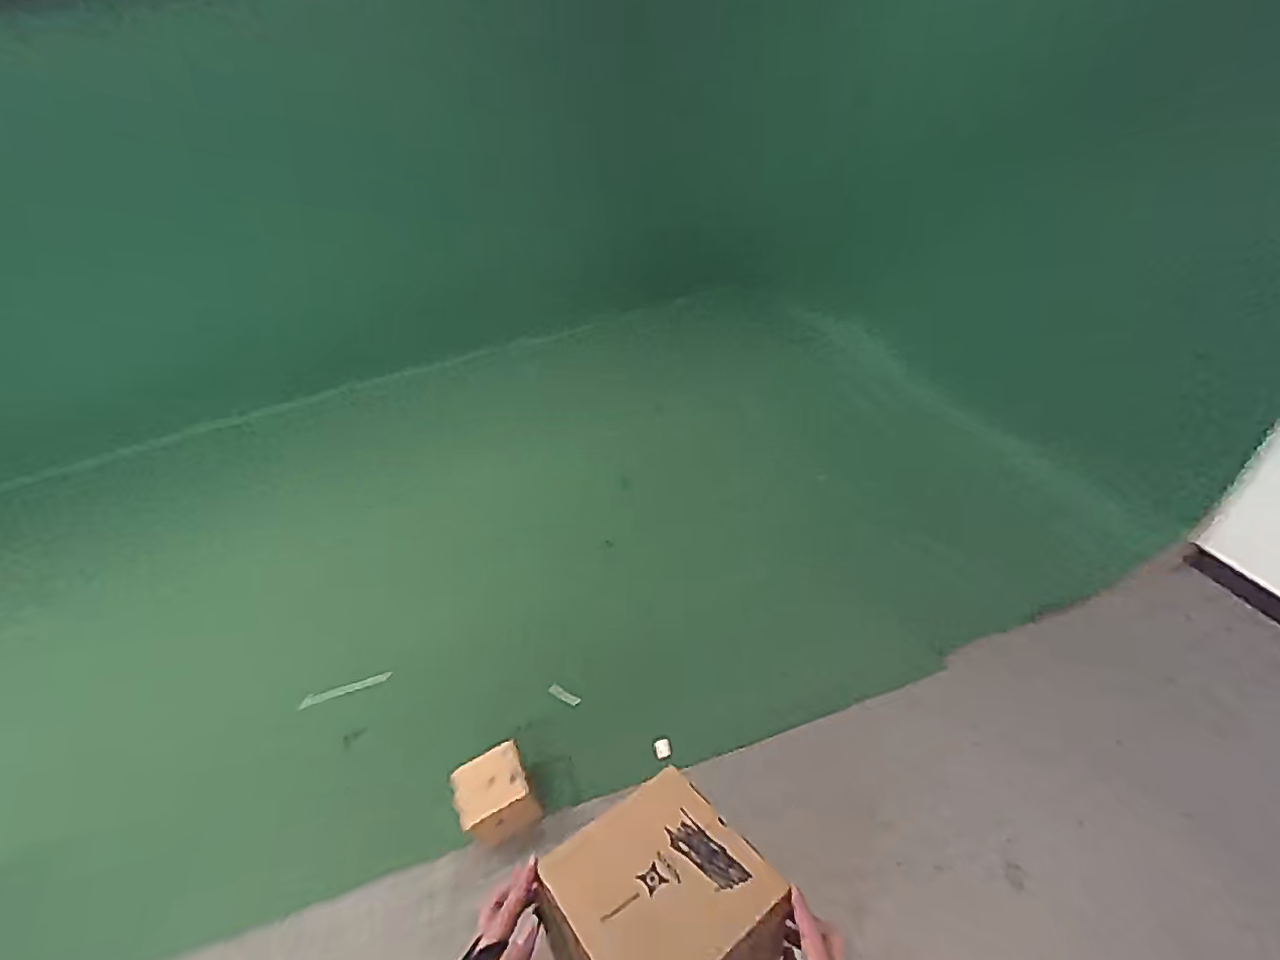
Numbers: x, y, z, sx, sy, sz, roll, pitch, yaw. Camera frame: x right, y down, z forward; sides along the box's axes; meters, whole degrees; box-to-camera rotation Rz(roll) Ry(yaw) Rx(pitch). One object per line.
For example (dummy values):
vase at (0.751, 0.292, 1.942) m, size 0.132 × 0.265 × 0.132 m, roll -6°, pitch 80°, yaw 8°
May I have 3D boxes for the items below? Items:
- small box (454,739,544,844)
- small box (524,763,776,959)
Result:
small box at (-0.391, 0.870, 1.505) m, size 0.179 × 0.176 × 0.168 m, roll -25°, pitch 42°, yaw -14°
small box at (0.008, 0.432, 0.526) m, size 0.179 × 0.176 × 0.168 m, roll -19°, pitch 27°, yaw -35°
